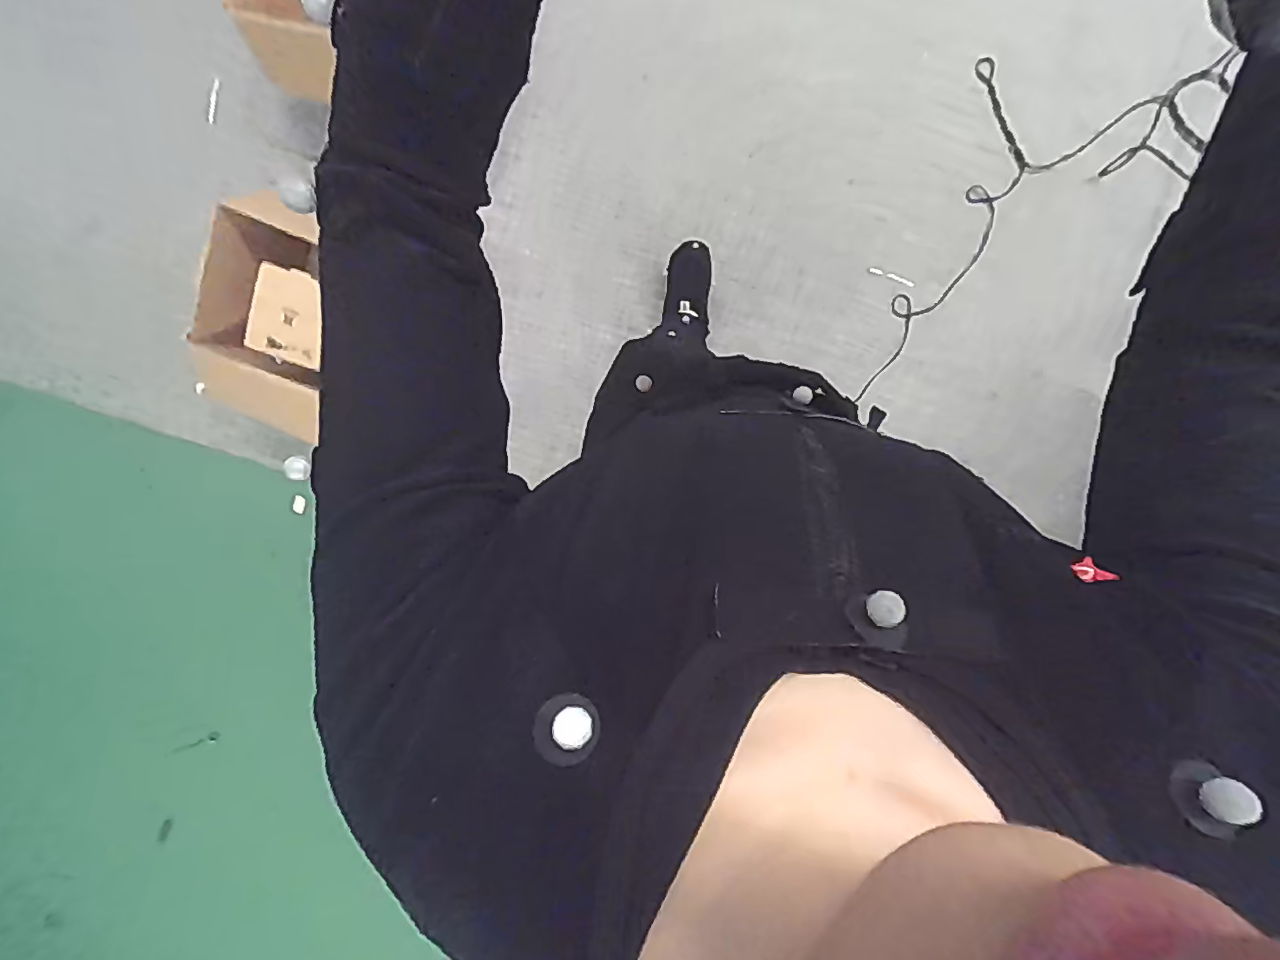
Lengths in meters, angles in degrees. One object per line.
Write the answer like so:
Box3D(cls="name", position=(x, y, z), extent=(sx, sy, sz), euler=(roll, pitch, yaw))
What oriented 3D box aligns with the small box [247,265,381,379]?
Box3D(cls="small box", position=(-0.694, -0.333, 1.172), extent=(0.168, 0.176, 0.179), euler=(20, 96, 2))
